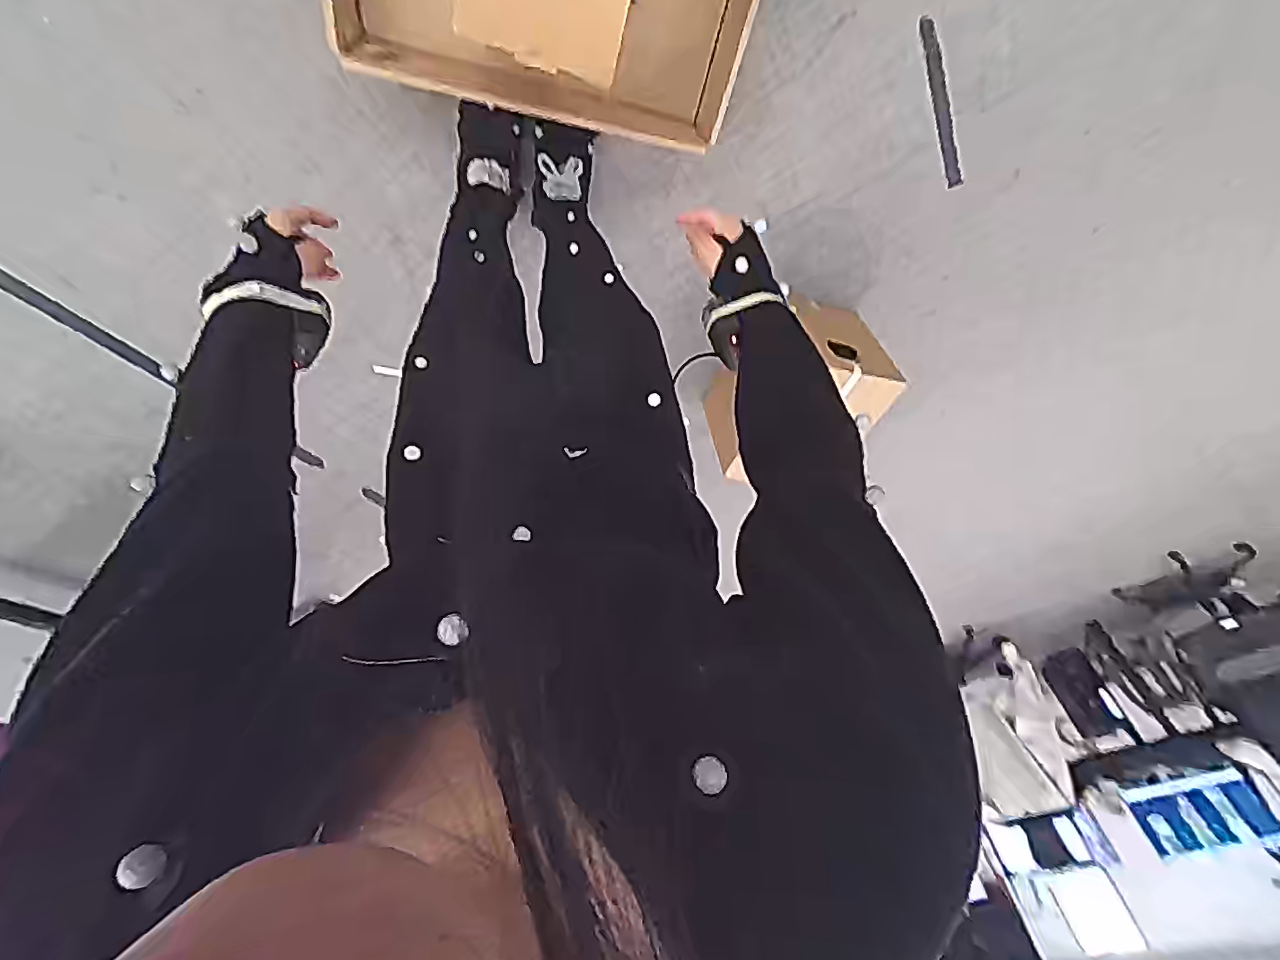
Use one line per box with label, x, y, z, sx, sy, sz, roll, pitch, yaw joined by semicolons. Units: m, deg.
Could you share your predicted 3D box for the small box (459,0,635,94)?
small box;-0.093;-0.548;0.563;0.168;0.176;0.179;6;135;-18
